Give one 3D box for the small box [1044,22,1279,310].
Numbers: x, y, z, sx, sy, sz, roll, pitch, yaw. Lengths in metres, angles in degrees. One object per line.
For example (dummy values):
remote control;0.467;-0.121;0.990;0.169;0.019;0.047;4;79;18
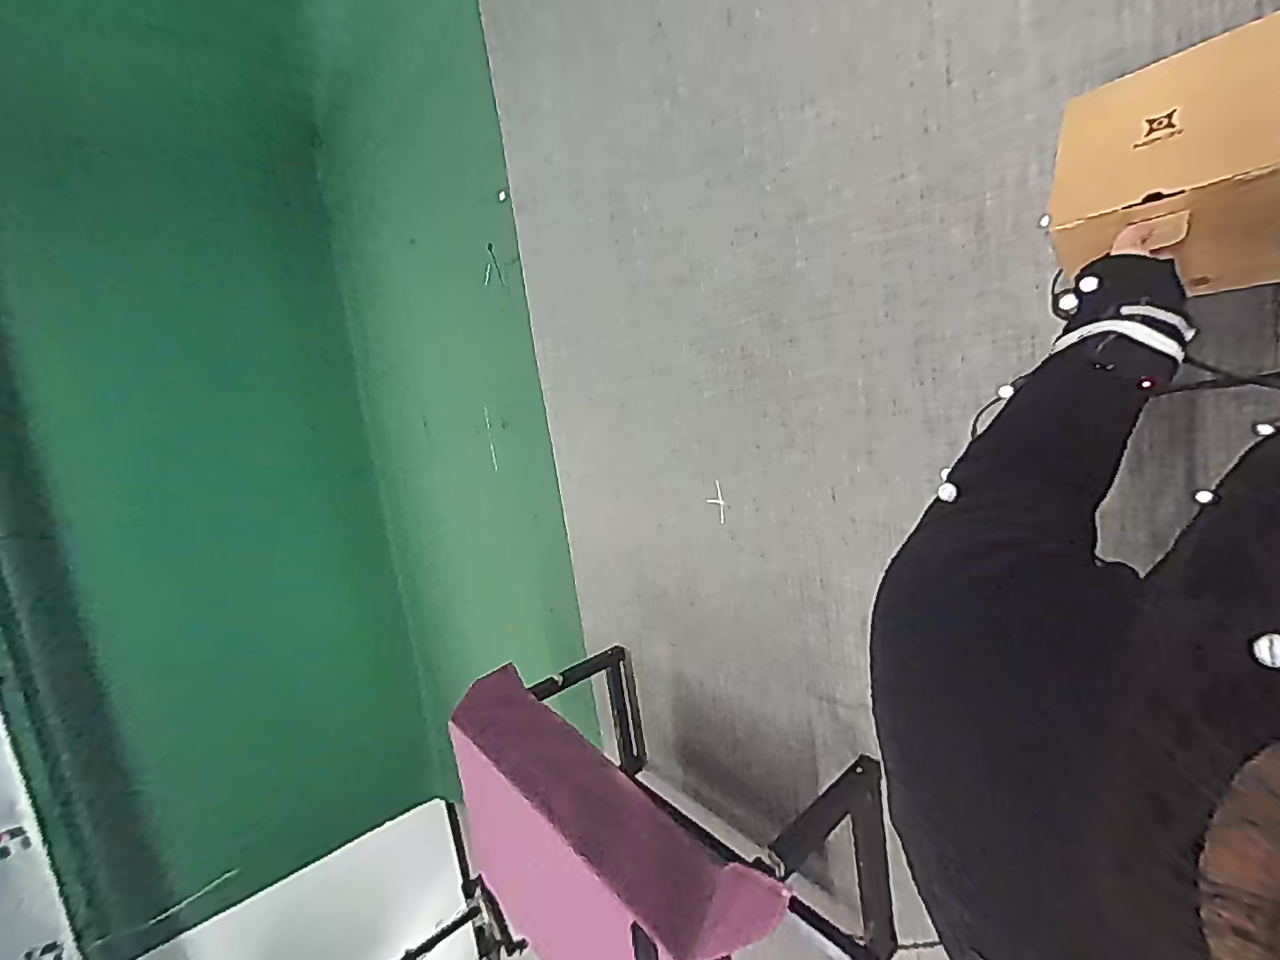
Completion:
small box;0.571;-0.319;0.590;0.168;0.176;0.179;1;71;51
